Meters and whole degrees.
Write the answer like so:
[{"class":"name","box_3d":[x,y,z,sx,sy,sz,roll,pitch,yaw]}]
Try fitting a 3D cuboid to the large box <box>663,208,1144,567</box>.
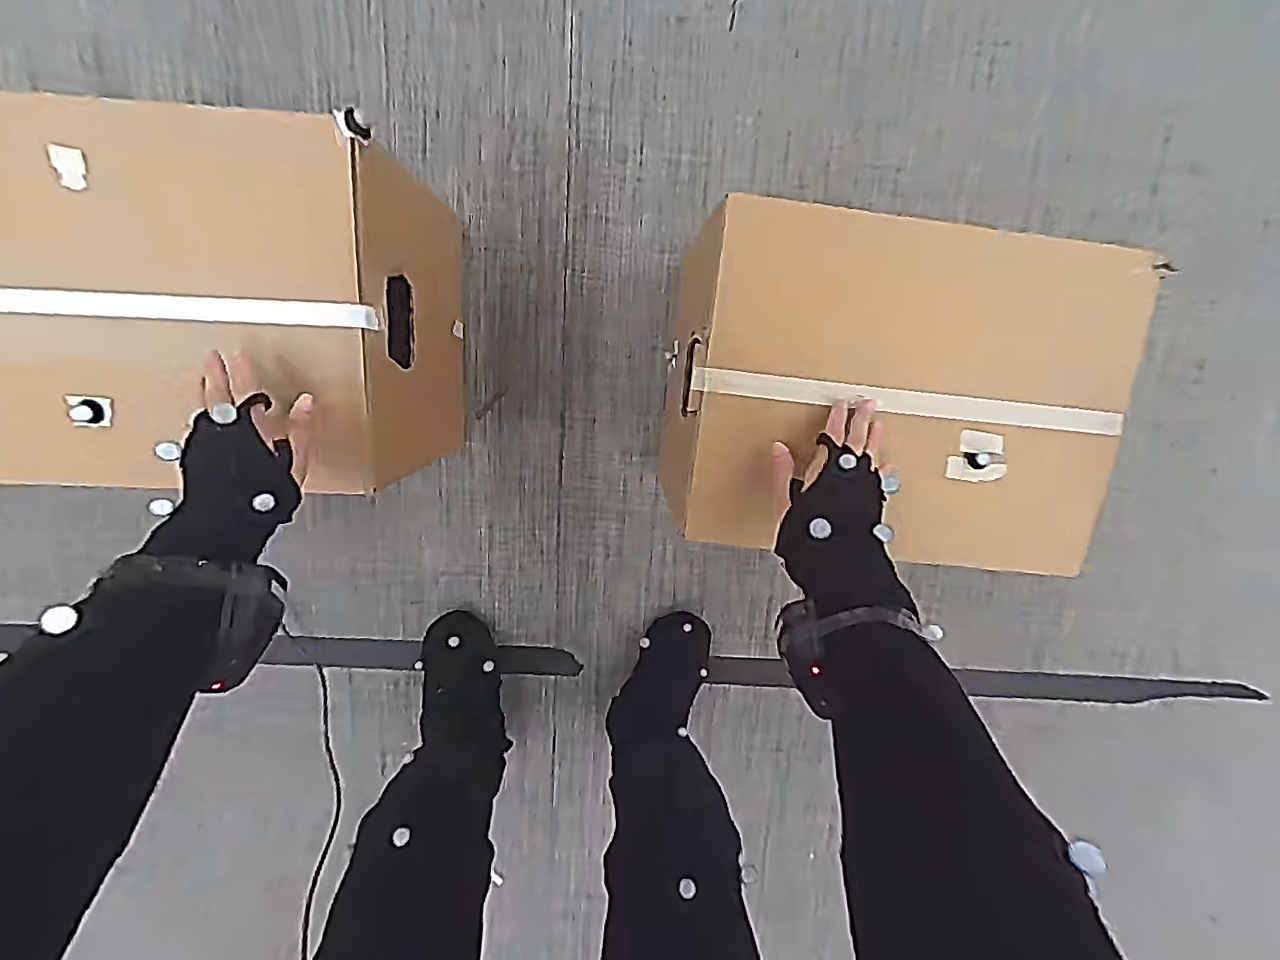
[{"class":"large box","box_3d":[0.252,-0.102,0.663,0.408,0.320,0.320,6,101,-5]}]
